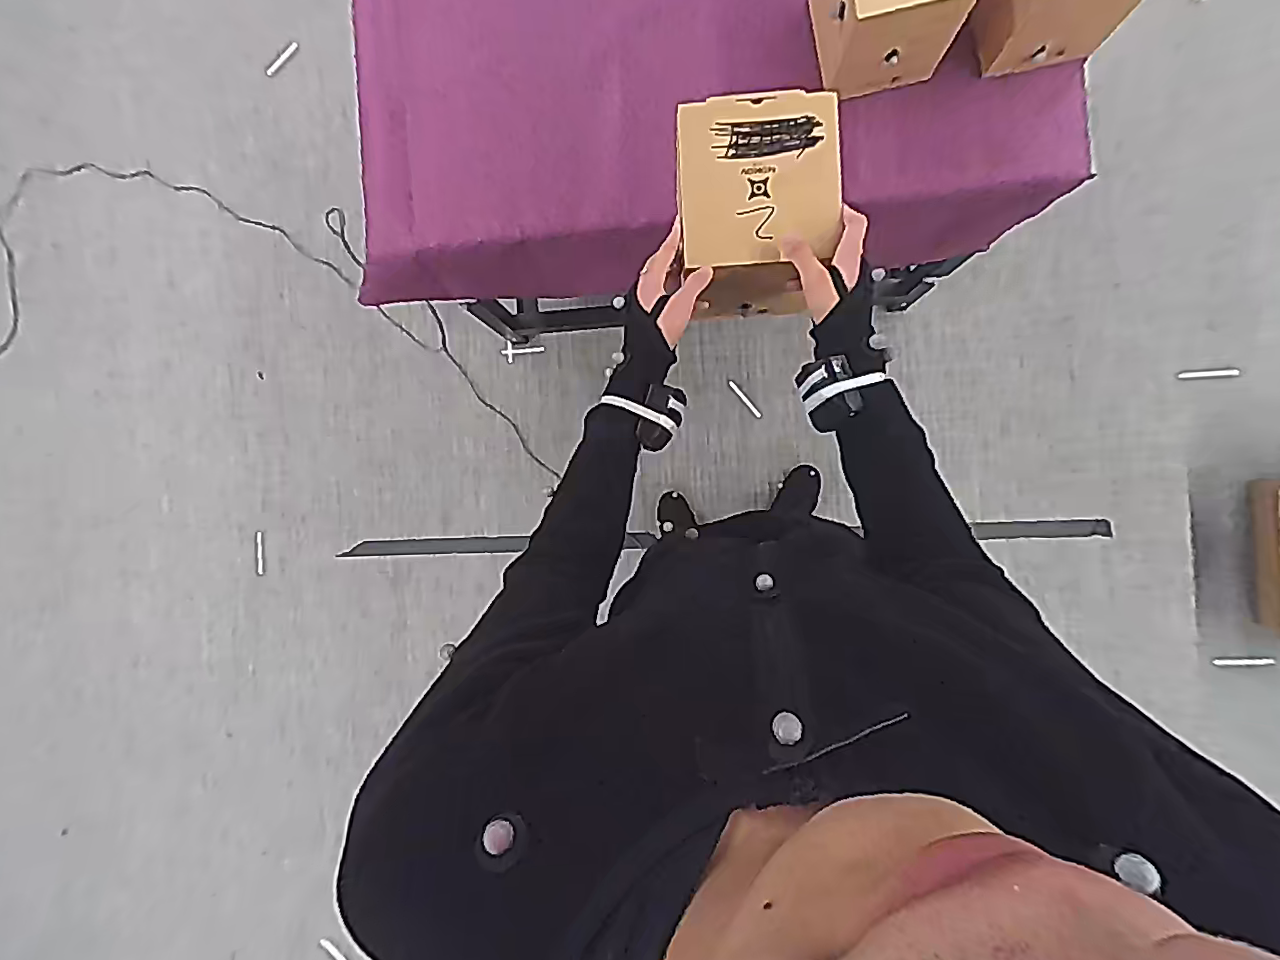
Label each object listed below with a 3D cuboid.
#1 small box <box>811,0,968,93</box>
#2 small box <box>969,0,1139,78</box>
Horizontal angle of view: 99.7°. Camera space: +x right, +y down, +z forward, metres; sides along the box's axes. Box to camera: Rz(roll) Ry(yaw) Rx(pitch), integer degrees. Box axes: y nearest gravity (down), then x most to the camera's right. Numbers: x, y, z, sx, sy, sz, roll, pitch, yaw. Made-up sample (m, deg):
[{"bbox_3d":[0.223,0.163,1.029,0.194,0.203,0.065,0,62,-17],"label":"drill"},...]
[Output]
[{"bbox_3d":[0.362,-0.714,0.798,0.168,0.176,0.179,-10,89,5],"label":"small box"},{"bbox_3d":[0.600,-0.734,0.775,0.168,0.176,0.179,-8,89,7],"label":"small box"}]
